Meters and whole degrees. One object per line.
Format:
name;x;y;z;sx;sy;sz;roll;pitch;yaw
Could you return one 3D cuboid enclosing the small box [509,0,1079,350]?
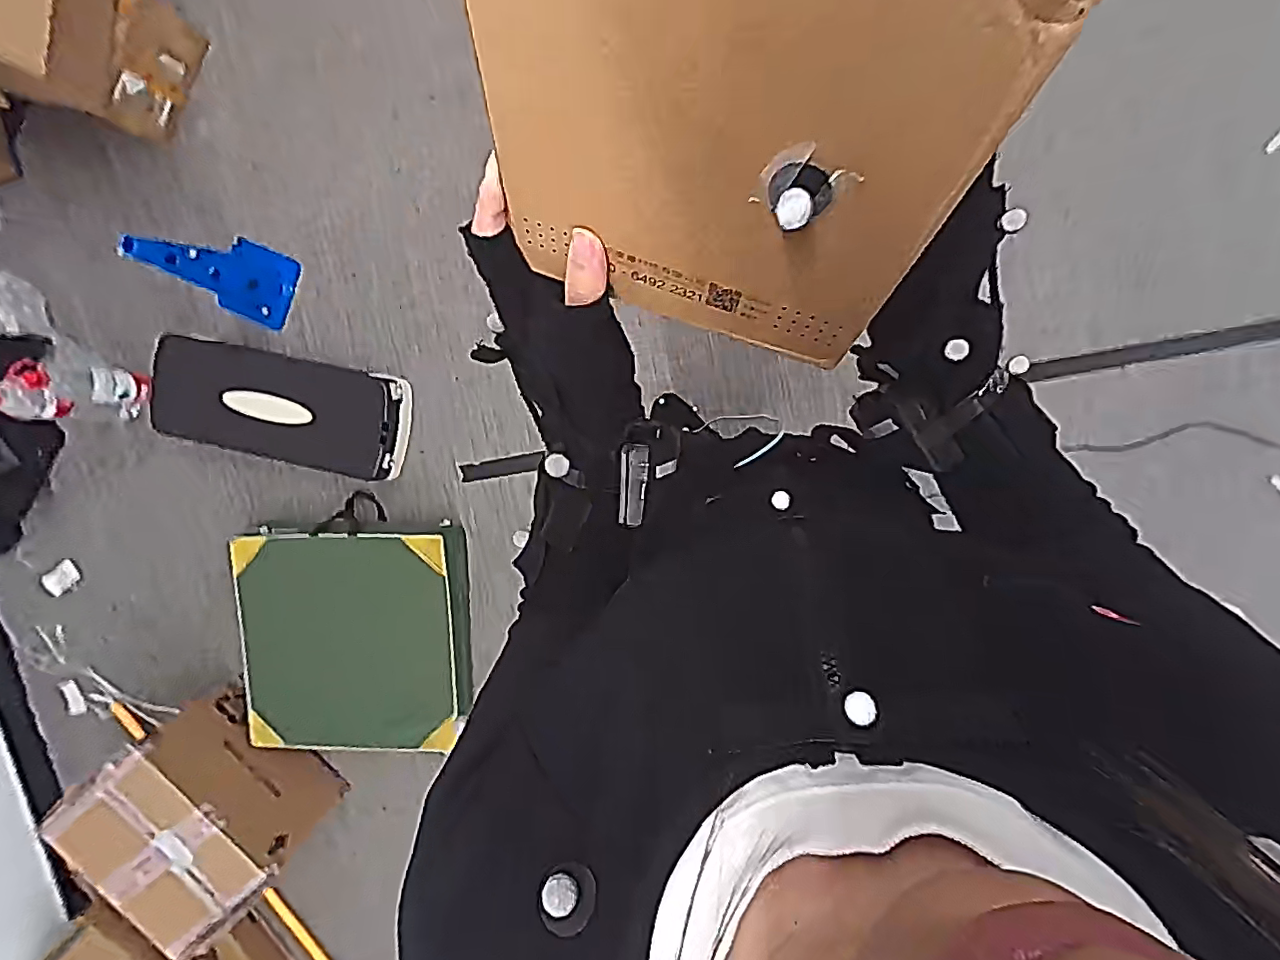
small box;0.058;-0.188;0.238;0.168;0.176;0.179;21;69;3
